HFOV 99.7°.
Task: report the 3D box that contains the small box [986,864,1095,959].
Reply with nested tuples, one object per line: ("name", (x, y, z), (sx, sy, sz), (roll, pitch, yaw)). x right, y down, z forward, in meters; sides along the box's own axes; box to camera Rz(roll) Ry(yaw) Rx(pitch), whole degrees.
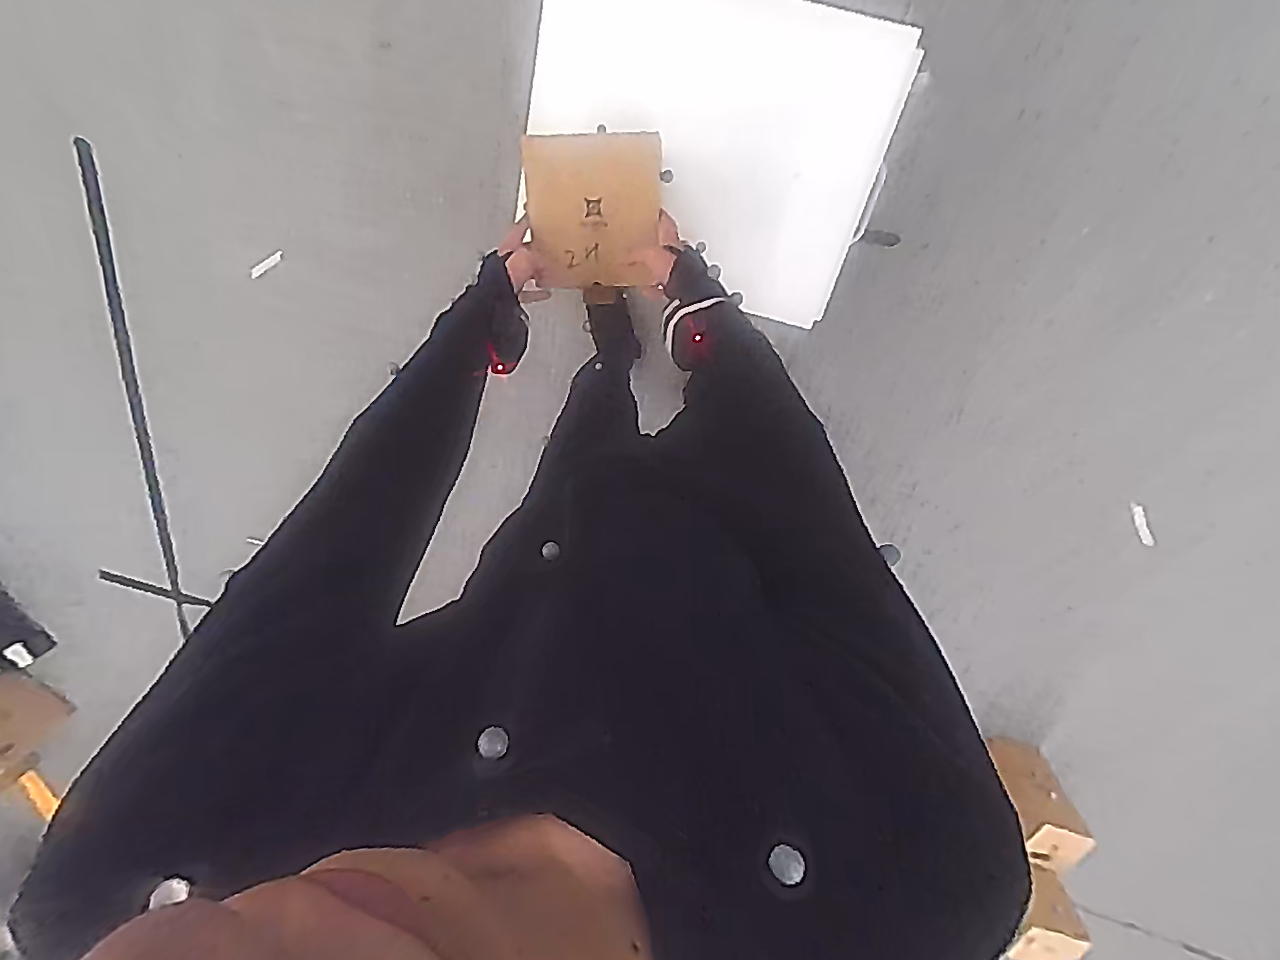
("small box", (1.209, 1.314, 1.648), (0.179, 0.176, 0.168), (13, 116, 2))

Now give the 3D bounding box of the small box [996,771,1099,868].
("small box", (1.269, 1.065, 1.704), (0.168, 0.176, 0.179), (18, 115, 0))

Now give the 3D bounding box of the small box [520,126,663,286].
("small box", (-0.055, -0.368, 0.734), (0.168, 0.176, 0.179), (1, 120, 4))
